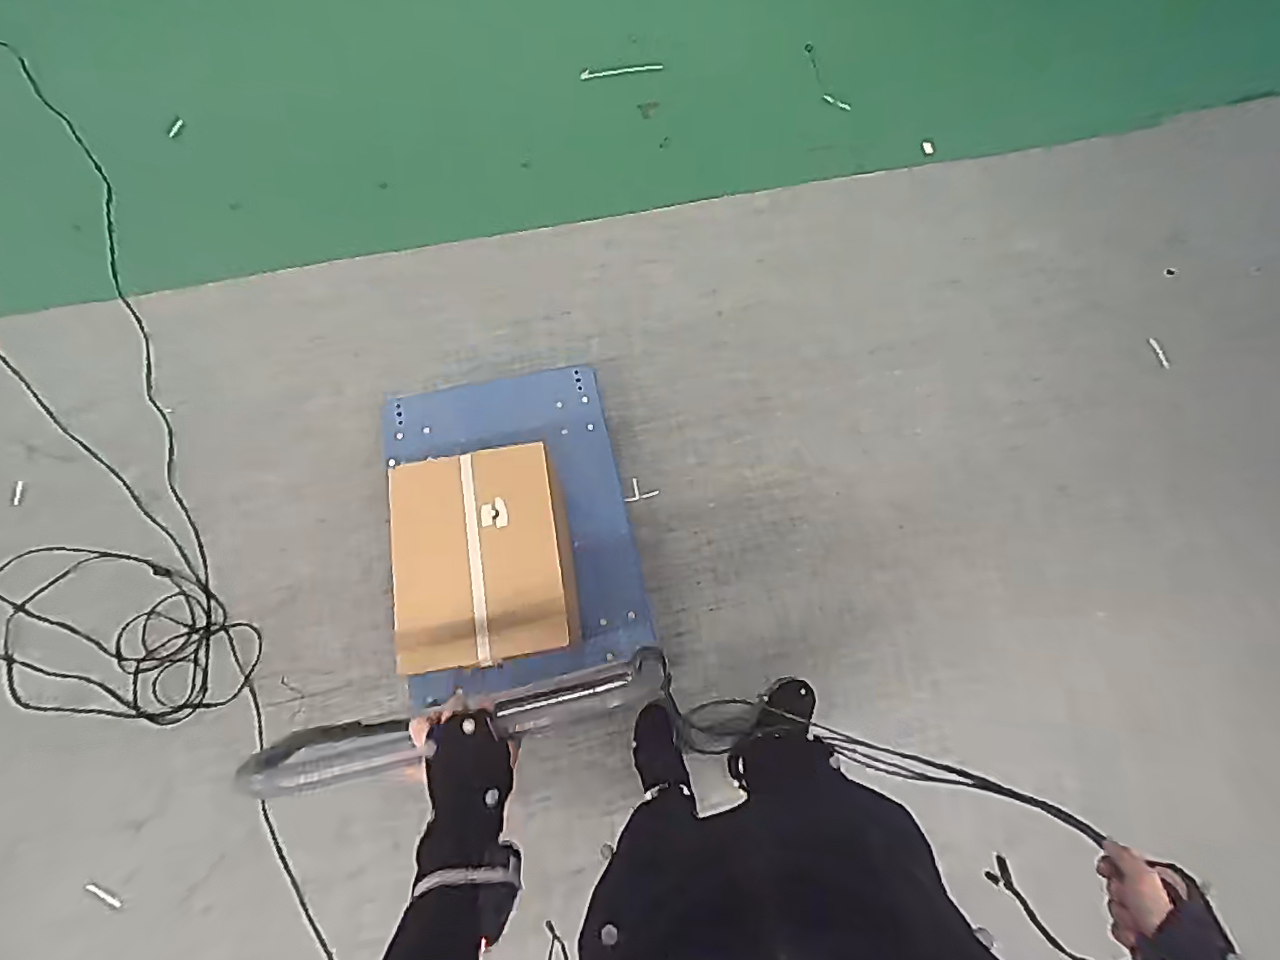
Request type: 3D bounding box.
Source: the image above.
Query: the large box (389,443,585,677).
[{"bbox_3d":[-0.311,0.181,1.160,0.320,0.320,0.408,-9,73,-4],"label":"large box"}]
